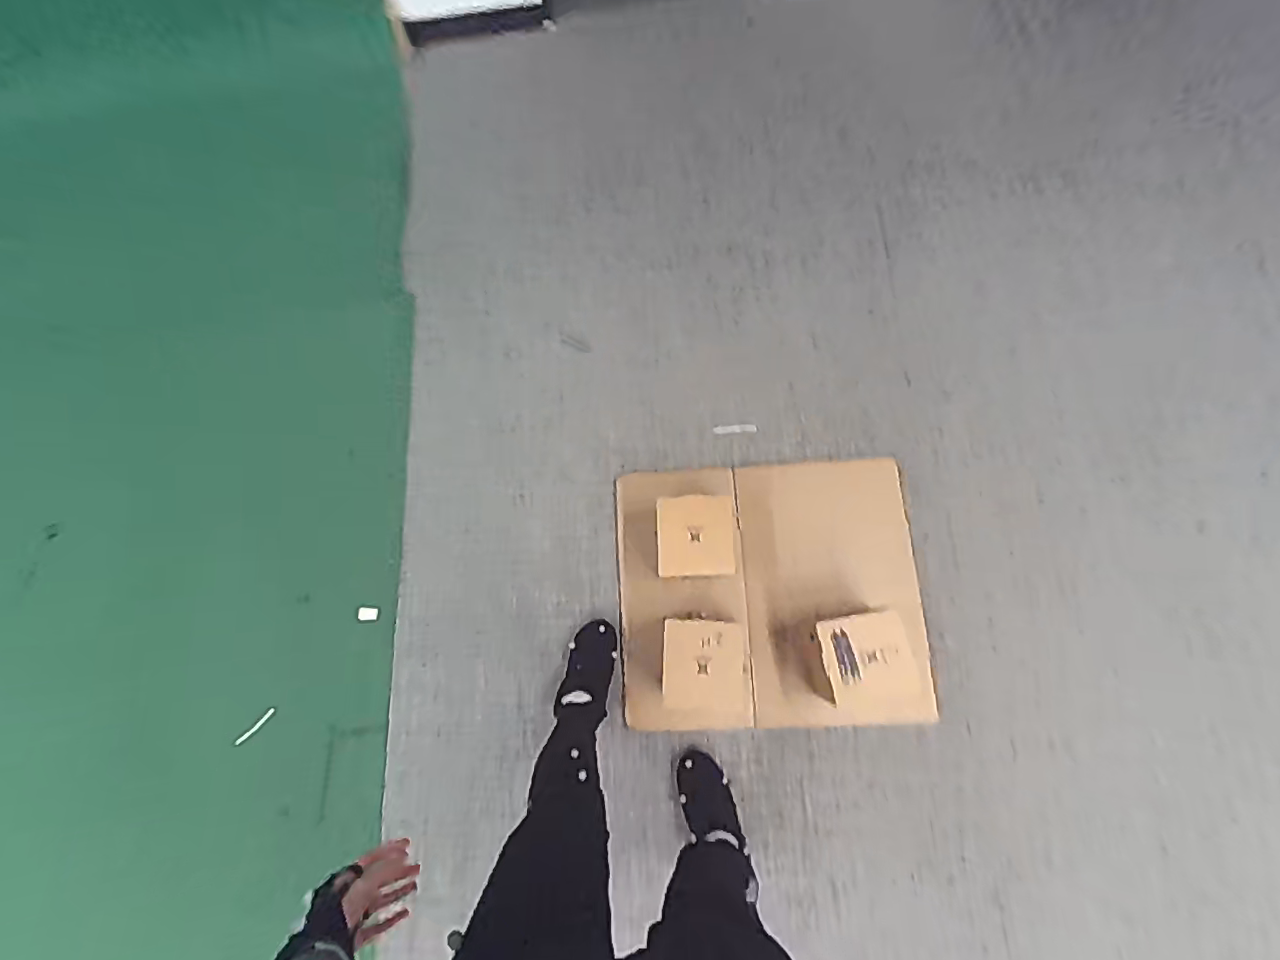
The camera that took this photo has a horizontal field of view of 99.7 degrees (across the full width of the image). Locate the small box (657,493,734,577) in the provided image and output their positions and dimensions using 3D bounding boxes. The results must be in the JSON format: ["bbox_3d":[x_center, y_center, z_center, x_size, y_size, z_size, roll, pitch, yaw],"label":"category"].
[{"bbox_3d":[0.127,0.132,1.245,0.168,0.176,0.179,-2,76,4],"label":"small box"}]

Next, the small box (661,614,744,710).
[{"bbox_3d":[0.135,0.389,1.180,0.168,0.176,0.179,2,76,5],"label":"small box"}]
